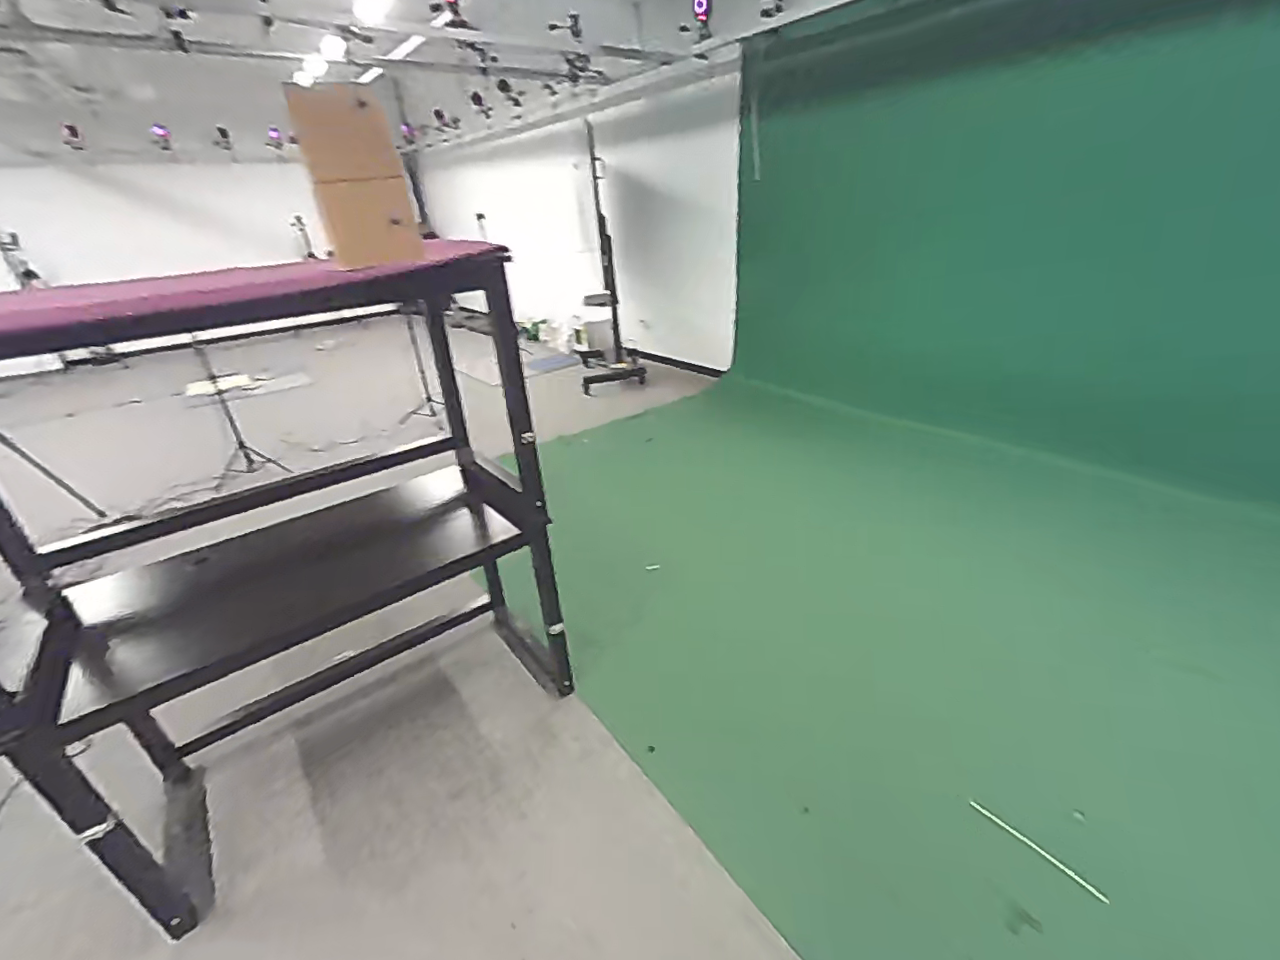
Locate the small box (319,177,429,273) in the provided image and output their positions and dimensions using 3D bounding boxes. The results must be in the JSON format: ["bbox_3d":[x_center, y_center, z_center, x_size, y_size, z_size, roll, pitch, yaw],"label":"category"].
[{"bbox_3d":[-0.583,-0.562,1.198,0.179,0.176,0.168,-21,29,-26],"label":"small box"}]

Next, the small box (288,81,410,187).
[{"bbox_3d":[-0.605,-0.709,1.132,0.179,0.176,0.168,-18,27,-24],"label":"small box"}]
